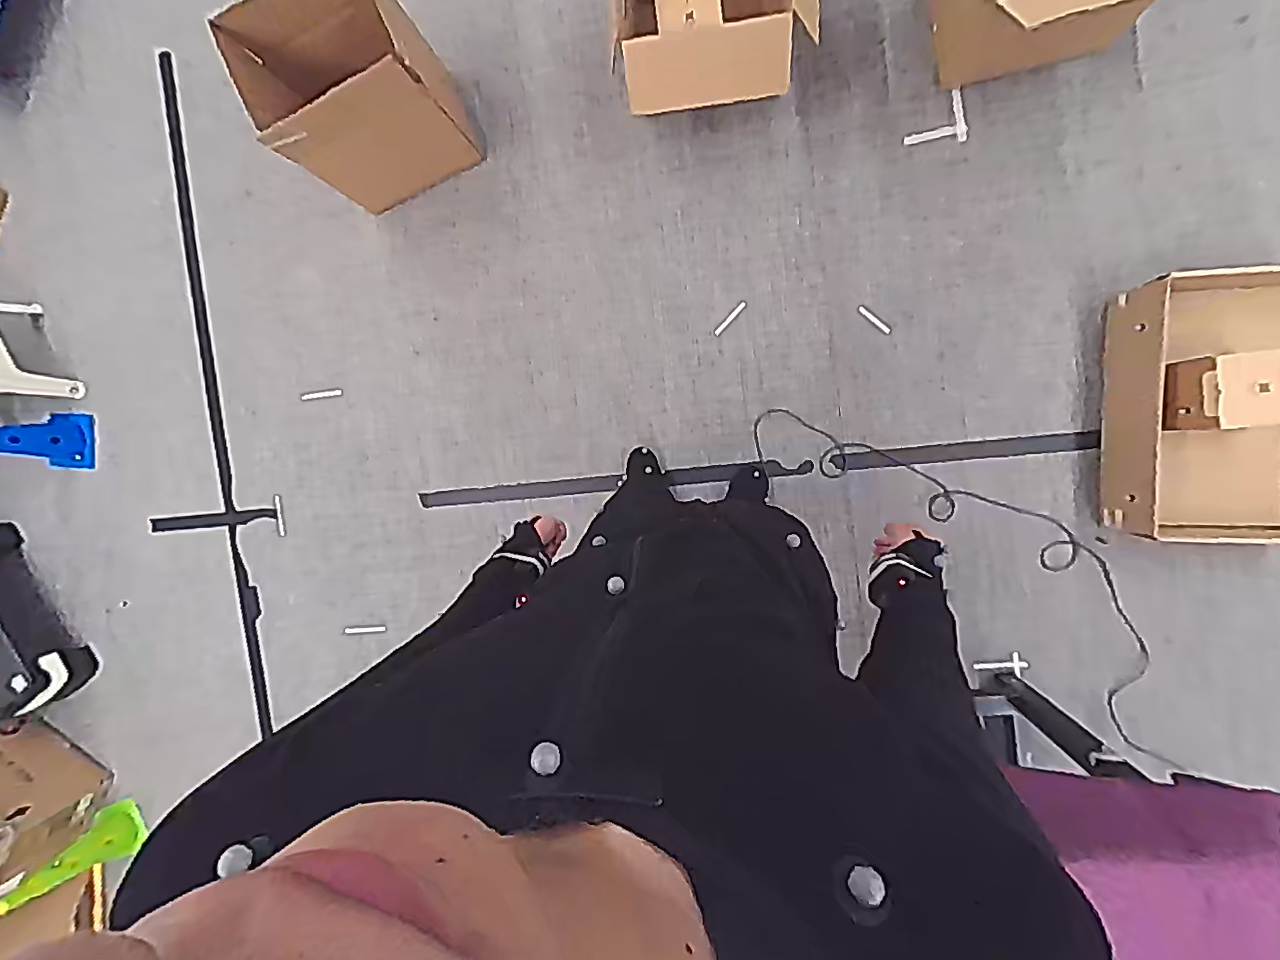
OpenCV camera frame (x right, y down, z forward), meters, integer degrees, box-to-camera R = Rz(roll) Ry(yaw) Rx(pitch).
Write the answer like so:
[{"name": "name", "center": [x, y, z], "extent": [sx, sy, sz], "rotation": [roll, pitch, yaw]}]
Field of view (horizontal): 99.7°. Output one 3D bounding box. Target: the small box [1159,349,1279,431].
[{"name": "small box", "center": [1.369, -0.205, 1.265], "extent": [0.179, 0.176, 0.168], "rotation": [-5, 94, 10]}]
